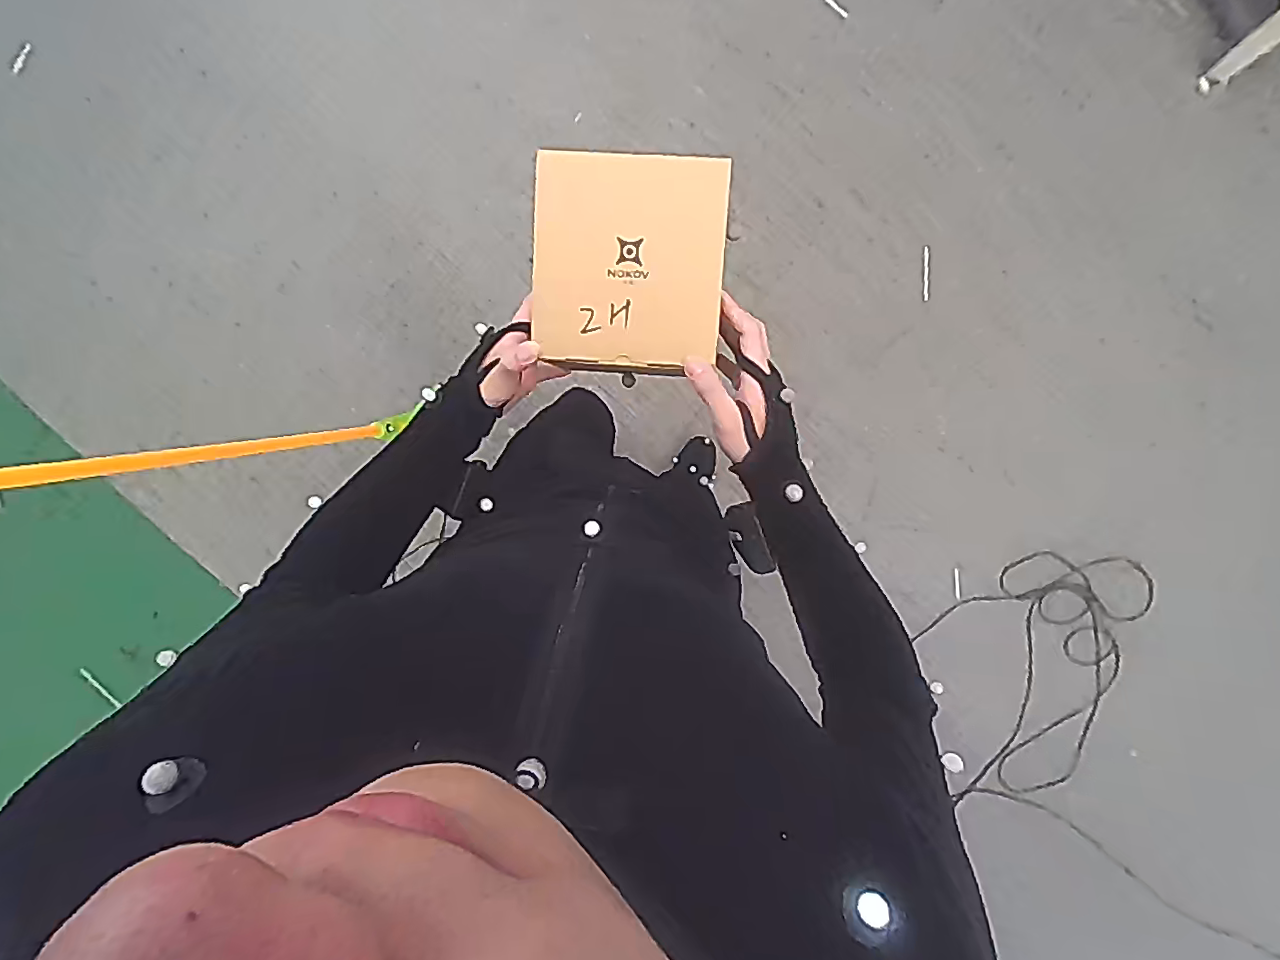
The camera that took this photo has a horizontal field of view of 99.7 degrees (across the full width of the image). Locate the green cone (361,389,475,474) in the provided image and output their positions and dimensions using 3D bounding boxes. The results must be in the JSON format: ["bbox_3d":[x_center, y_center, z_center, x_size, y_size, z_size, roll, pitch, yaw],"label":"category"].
[{"bbox_3d":[-0.639,-0.122,1.465,0.202,0.368,0.200,44,100,-2],"label":"green cone"}]
